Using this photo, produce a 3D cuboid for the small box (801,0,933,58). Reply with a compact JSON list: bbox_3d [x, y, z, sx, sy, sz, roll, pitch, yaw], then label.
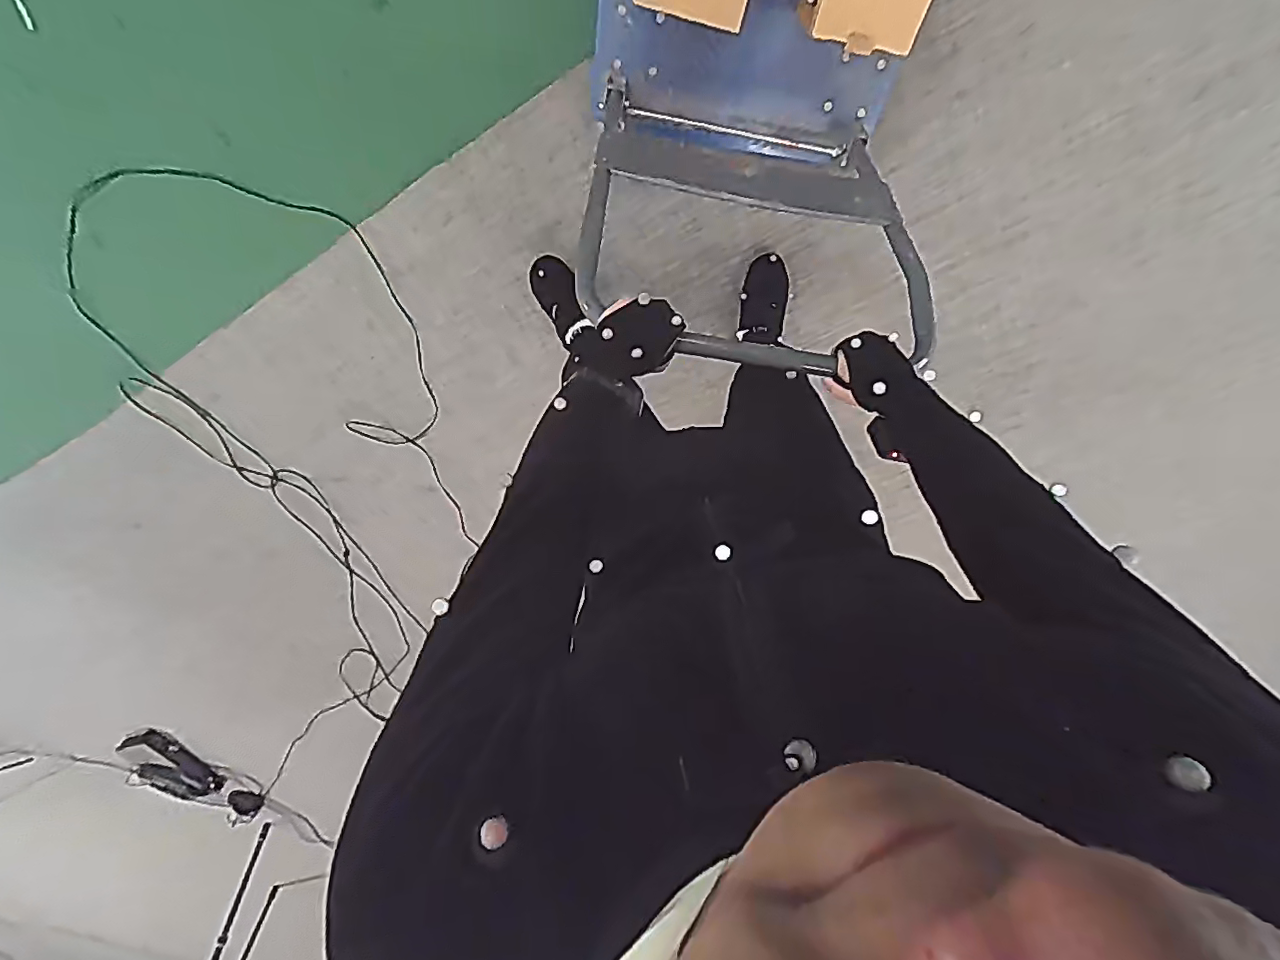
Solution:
[{"bbox_3d":[0.370,-0.811,0.854,0.168,0.176,0.179,8,140,-6],"label":"small box"}]
